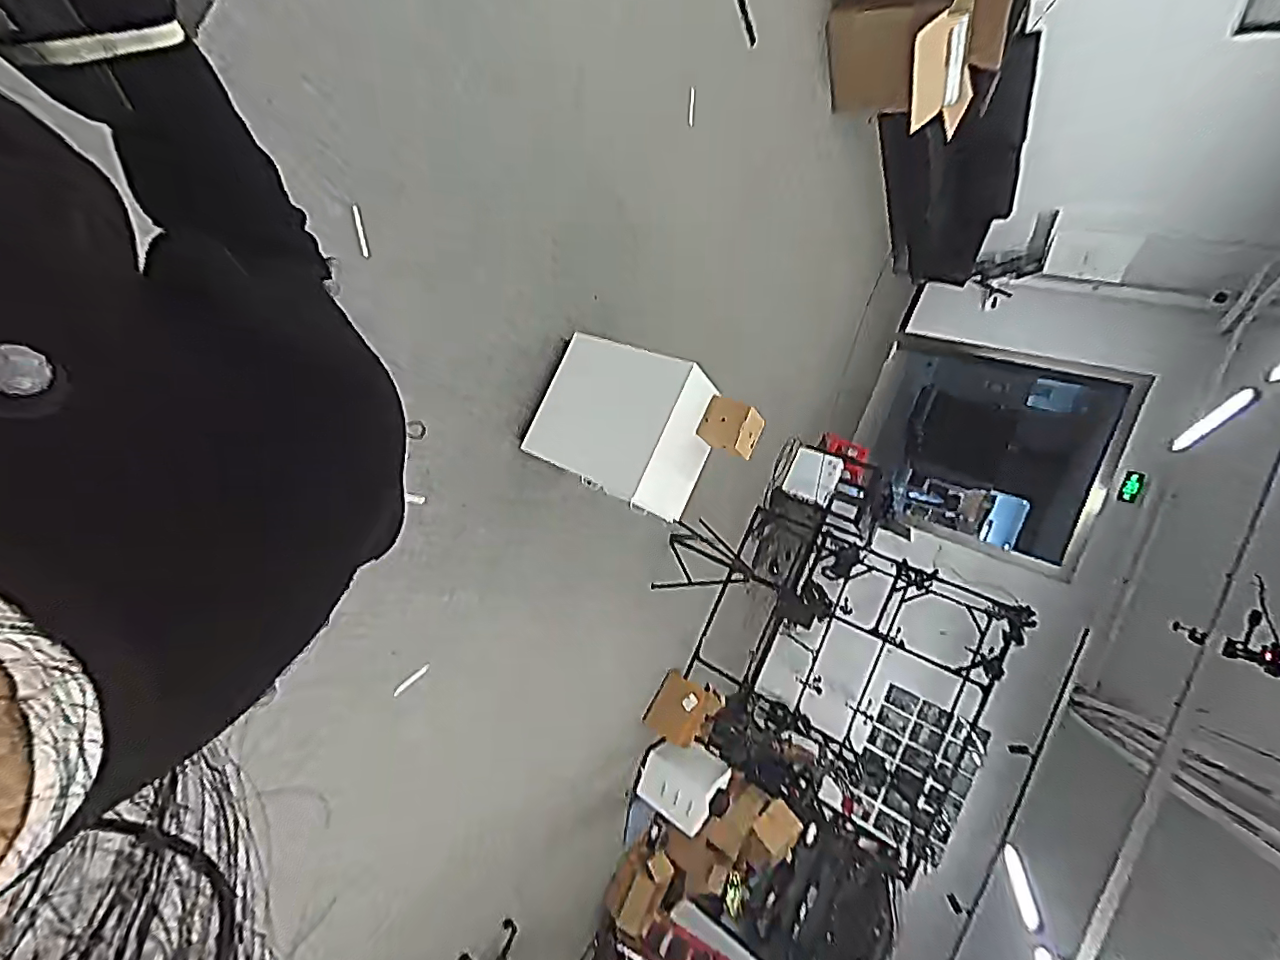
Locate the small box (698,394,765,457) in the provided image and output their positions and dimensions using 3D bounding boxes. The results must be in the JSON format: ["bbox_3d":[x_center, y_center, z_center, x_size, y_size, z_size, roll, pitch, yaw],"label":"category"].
[{"bbox_3d":[0.343,-0.208,2.038,0.179,0.176,0.168,30,86,-57],"label":"small box"}]
